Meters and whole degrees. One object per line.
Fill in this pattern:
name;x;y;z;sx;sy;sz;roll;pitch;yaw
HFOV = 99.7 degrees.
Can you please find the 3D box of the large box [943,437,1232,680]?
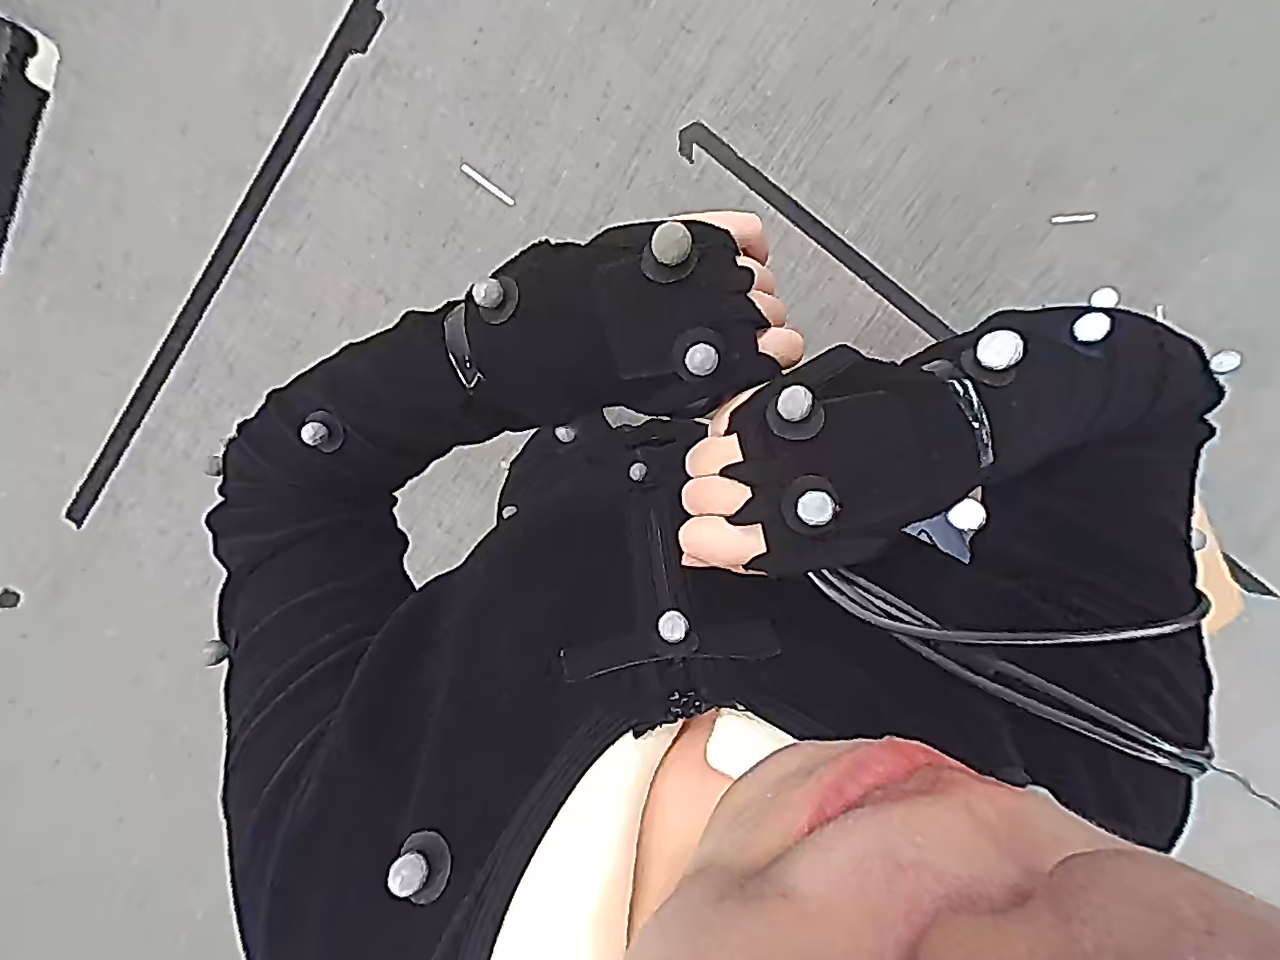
large box;0.995;0.155;1.243;0.320;0.320;0.408;-31;100;2
